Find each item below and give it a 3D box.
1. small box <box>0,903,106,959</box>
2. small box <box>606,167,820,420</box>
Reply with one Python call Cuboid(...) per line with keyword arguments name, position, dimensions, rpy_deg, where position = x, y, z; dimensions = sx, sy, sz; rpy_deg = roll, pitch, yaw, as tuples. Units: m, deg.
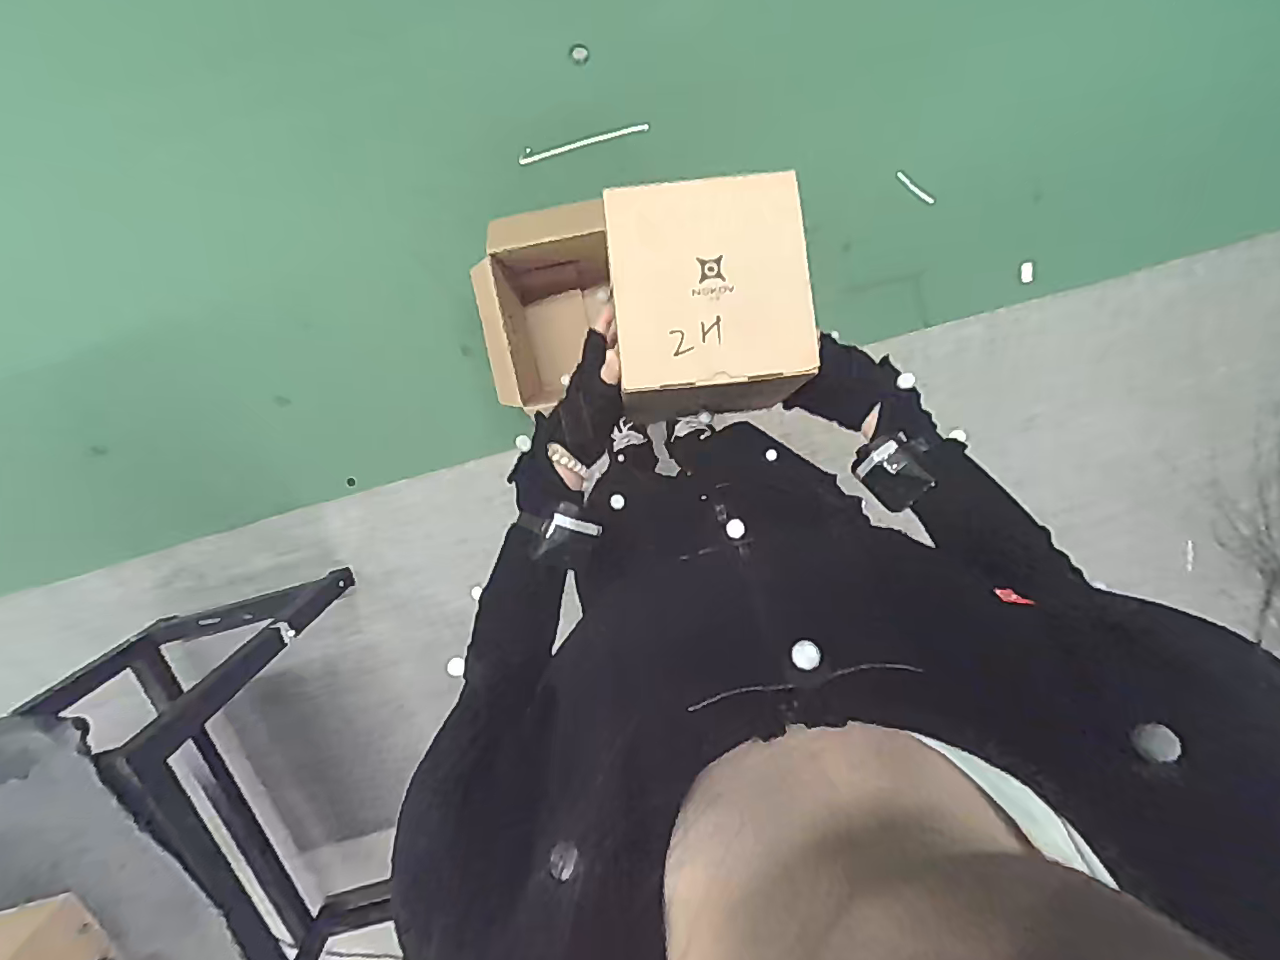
Cuboid(name="small box", position=(-0.966, 0.782, 0.808), dimensions=(0.179, 0.176, 0.168), rpy_deg=(-16, 104, 3))
Cuboid(name="small box", position=(0.058, -0.162, 0.521), dimensions=(0.168, 0.176, 0.179), rpy_deg=(-6, 88, 0))
